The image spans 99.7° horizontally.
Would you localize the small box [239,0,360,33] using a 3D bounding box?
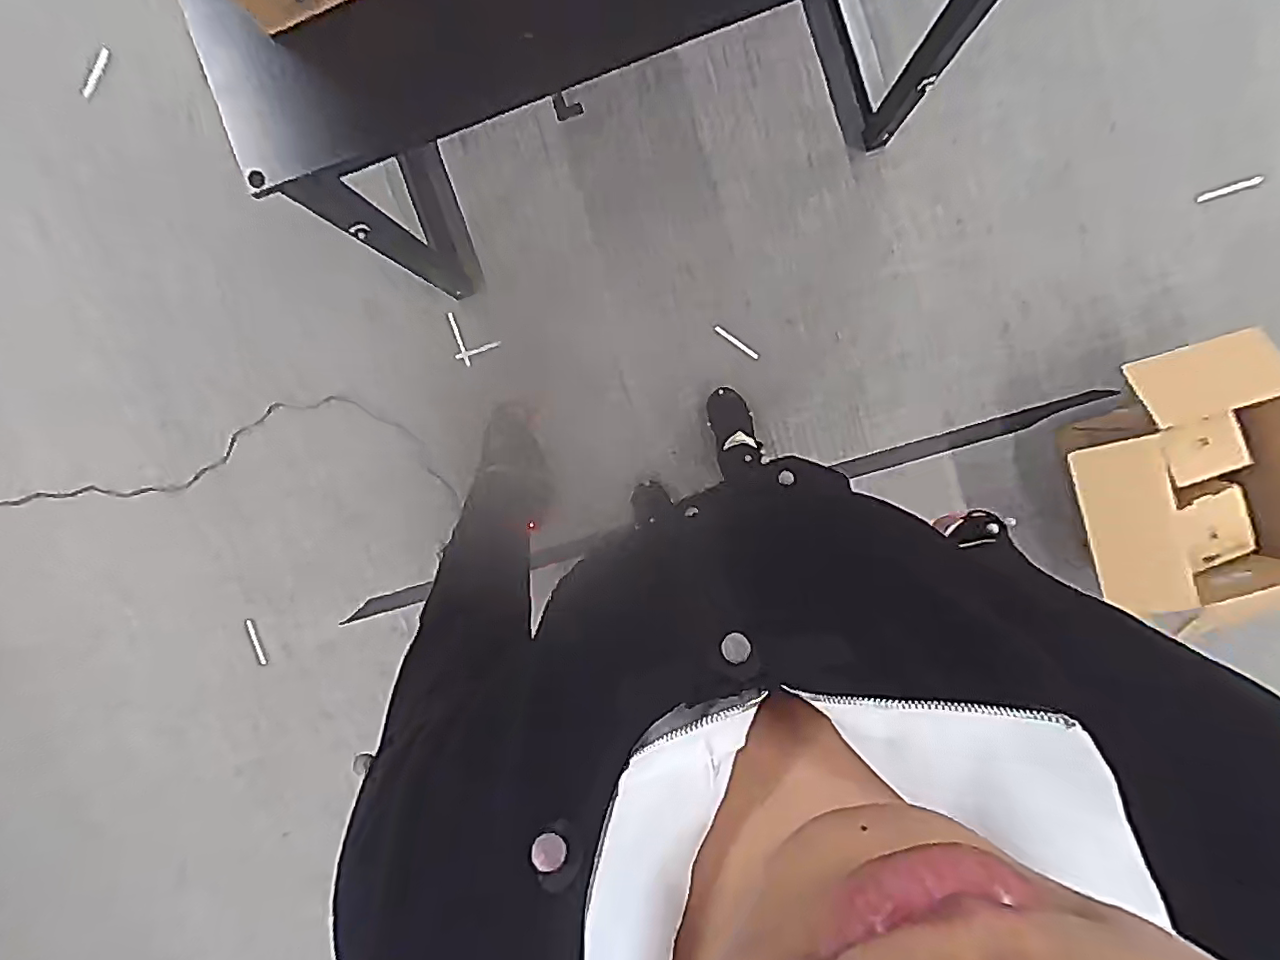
[{"bbox_3d":[-0.456,-0.694,0.634,0.168,0.176,0.179,-20,95,4],"label":"small box"}]
